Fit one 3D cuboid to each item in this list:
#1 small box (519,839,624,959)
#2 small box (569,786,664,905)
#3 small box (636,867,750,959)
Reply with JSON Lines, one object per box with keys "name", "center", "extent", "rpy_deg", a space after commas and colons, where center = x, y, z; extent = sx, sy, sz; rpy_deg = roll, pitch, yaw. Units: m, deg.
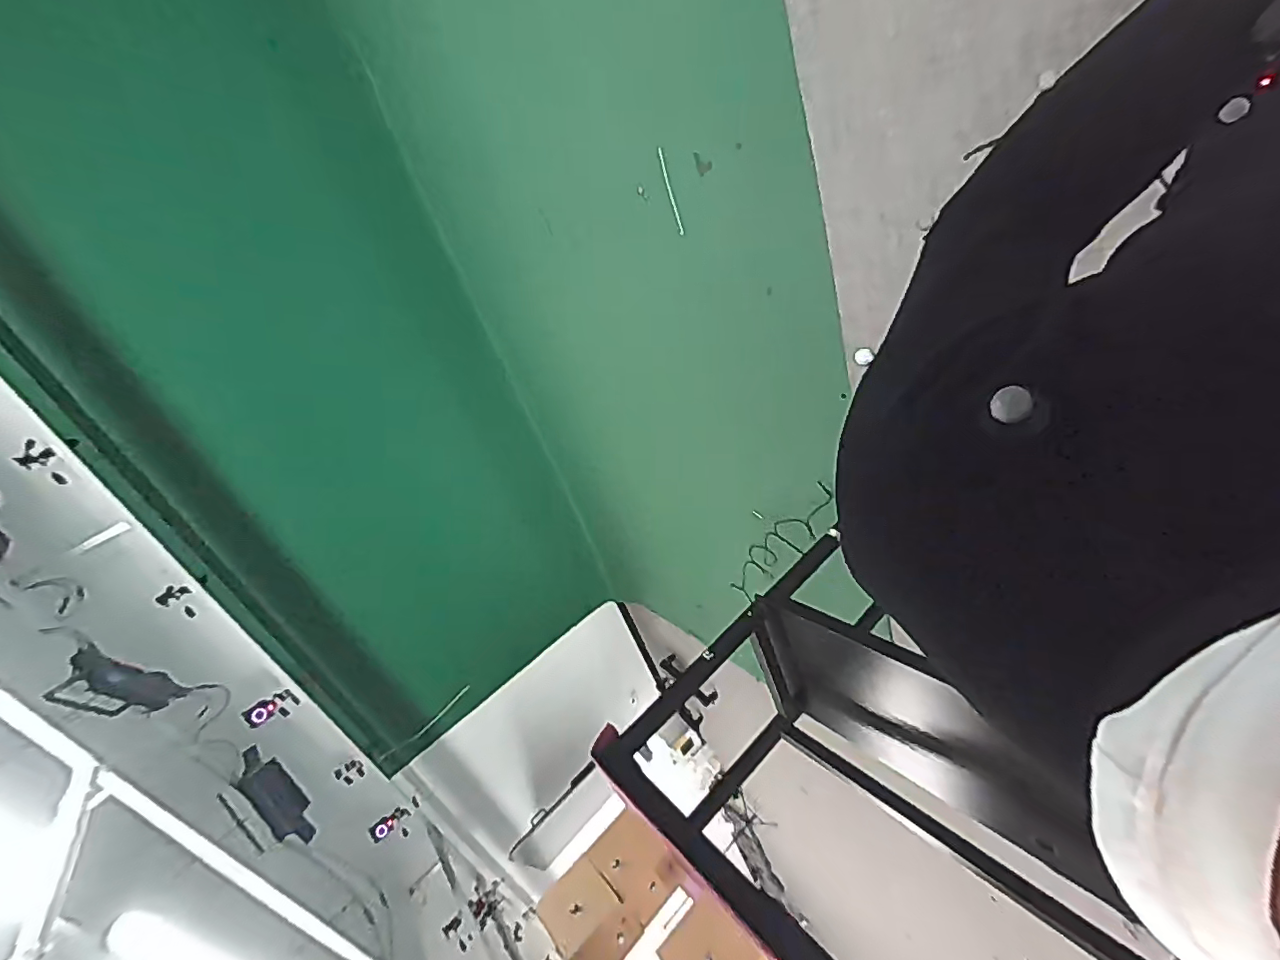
{"name": "small box", "center": [-0.172, 1.067, 1.384], "extent": [0.179, 0.176, 0.168], "rpy_deg": [13, 134, 51]}
{"name": "small box", "center": [-0.056, 0.977, 1.456], "extent": [0.179, 0.176, 0.168], "rpy_deg": [21, 141, 47]}
{"name": "small box", "center": [0.127, 1.029, 1.212], "extent": [0.179, 0.176, 0.168], "rpy_deg": [19, 139, 48]}
